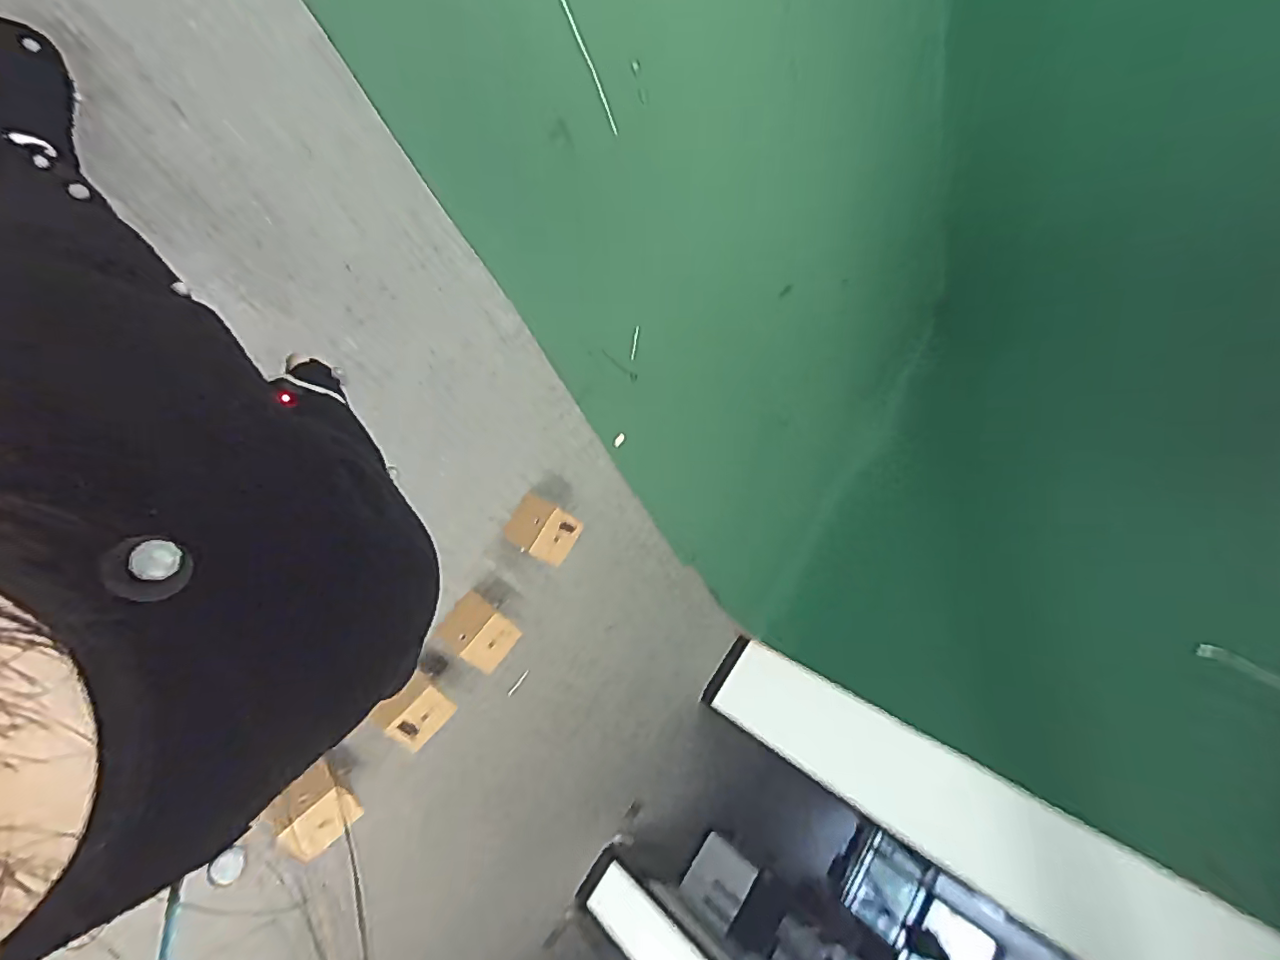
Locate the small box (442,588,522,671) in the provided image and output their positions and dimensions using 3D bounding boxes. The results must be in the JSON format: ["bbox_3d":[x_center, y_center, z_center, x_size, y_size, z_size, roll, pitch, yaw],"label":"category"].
[{"bbox_3d":[-0.539,0.499,1.819,0.179,0.176,0.168,-51,137,-19],"label":"small box"}]

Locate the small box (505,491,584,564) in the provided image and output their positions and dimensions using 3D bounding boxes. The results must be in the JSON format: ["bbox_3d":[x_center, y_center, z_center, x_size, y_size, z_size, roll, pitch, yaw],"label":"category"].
[{"bbox_3d":[-0.337,0.162,1.886,0.179,0.176,0.168,-59,138,-9],"label":"small box"}]

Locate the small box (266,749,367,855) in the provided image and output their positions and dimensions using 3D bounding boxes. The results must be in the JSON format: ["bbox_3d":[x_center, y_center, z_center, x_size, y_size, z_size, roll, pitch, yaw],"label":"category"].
[{"bbox_3d":[-0.945,0.931,1.577,0.179,0.176,0.168,-38,131,-29],"label":"small box"}]
